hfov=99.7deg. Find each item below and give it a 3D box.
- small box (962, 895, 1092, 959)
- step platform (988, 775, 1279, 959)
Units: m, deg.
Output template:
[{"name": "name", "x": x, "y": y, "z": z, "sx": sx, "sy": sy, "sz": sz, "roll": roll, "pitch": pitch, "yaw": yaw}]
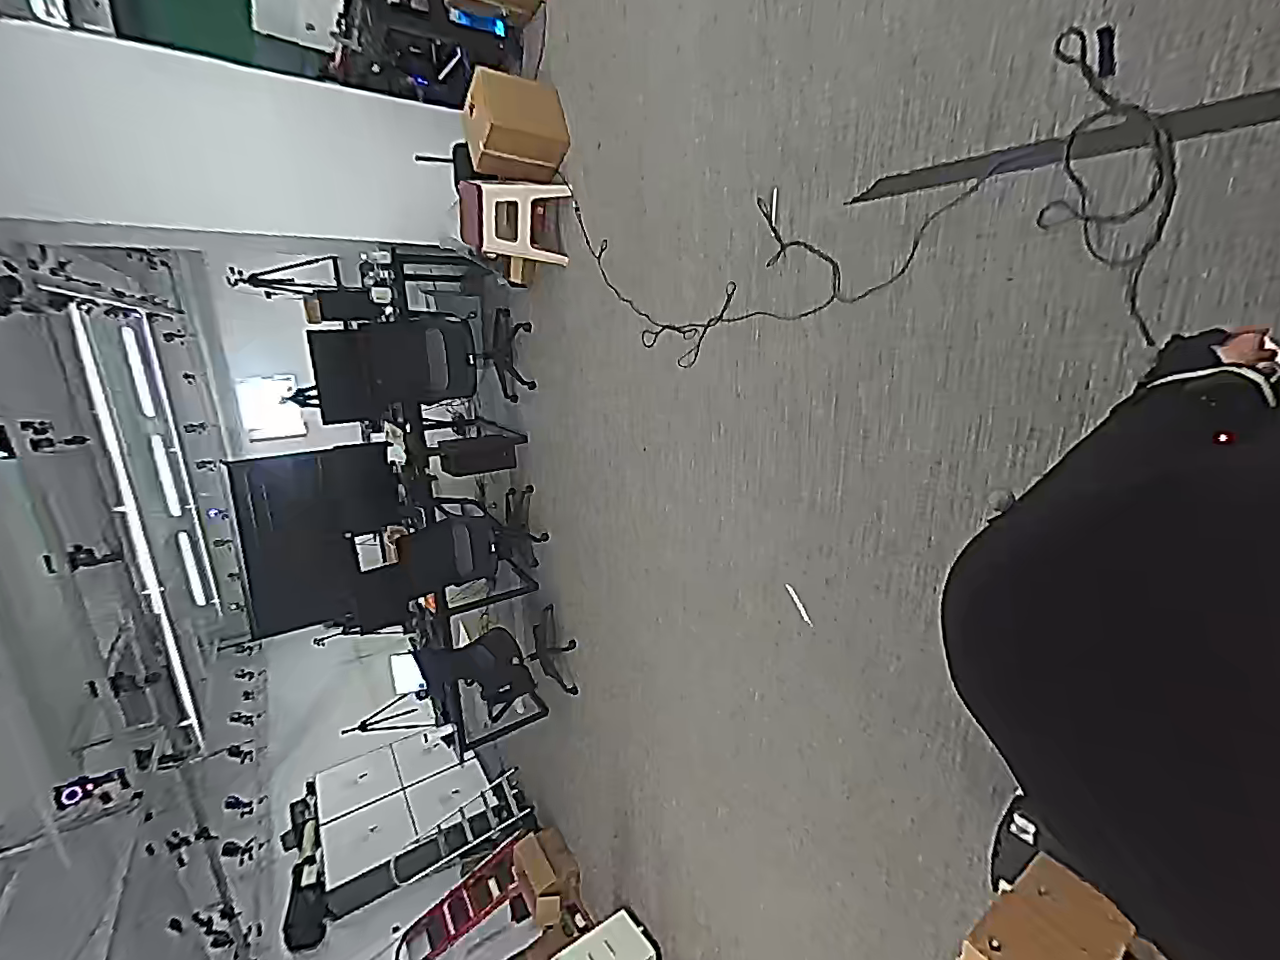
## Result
[{"name": "small box", "x": 0.731, "y": 0.948, "z": 1.017, "sx": 0.179, "sy": 0.176, "sz": 0.168, "roll": 26, "pitch": 121, "yaw": 52}, {"name": "step platform", "x": 1.095, "y": 0.944, "z": 1.079, "sx": 0.684, "sy": 0.204, "sz": 0.286, "roll": 21, "pitch": 117, "yaw": 53}]
